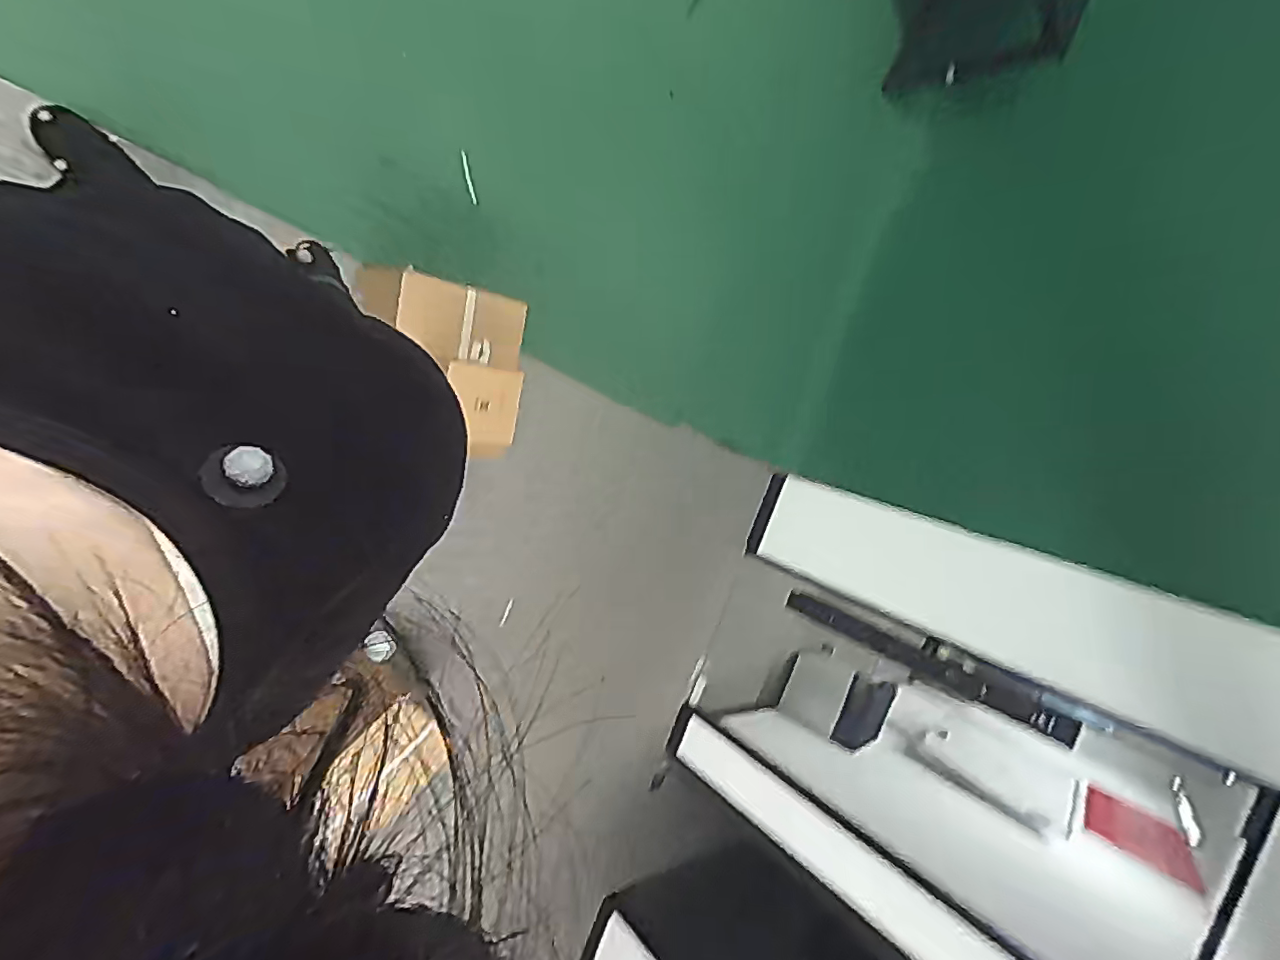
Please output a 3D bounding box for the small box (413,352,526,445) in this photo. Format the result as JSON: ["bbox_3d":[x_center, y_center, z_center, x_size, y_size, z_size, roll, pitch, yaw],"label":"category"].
[{"bbox_3d":[-0.385,-0.184,1.205,0.179,0.176,0.168,2,105,-45],"label":"small box"}]

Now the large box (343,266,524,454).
[{"bbox_3d":[-0.533,-0.294,1.374,0.320,0.320,0.408,1,105,-46],"label":"large box"}]
